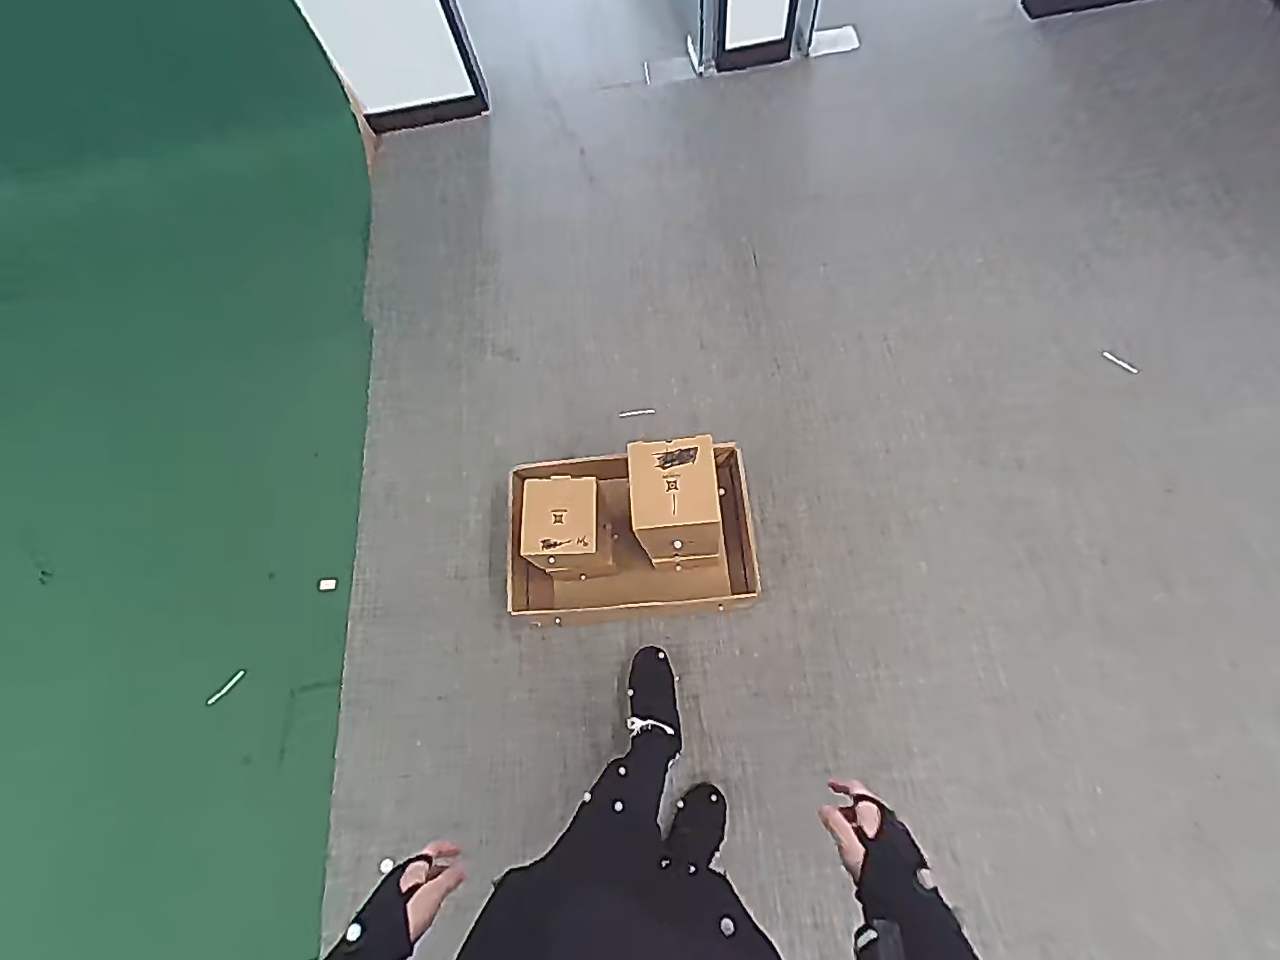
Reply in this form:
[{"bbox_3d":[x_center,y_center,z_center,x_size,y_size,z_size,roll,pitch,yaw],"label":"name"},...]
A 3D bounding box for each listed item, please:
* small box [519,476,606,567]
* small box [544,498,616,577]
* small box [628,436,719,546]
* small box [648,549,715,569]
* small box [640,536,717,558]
[{"bbox_3d":[-0.174,0.101,1.265,0.168,0.176,0.179,-2,70,4],"label":"small box"},{"bbox_3d":[-0.157,0.156,1.420,0.168,0.176,0.179,-6,71,1],"label":"small box"},{"bbox_3d":[0.068,0.027,1.100,0.168,0.176,0.179,-6,71,5],"label":"small box"},{"bbox_3d":[0.103,0.133,1.407,0.168,0.176,0.179,-6,71,3],"label":"small box"},{"bbox_3d":[0.086,0.076,1.255,0.168,0.176,0.179,-5,71,5],"label":"small box"}]
